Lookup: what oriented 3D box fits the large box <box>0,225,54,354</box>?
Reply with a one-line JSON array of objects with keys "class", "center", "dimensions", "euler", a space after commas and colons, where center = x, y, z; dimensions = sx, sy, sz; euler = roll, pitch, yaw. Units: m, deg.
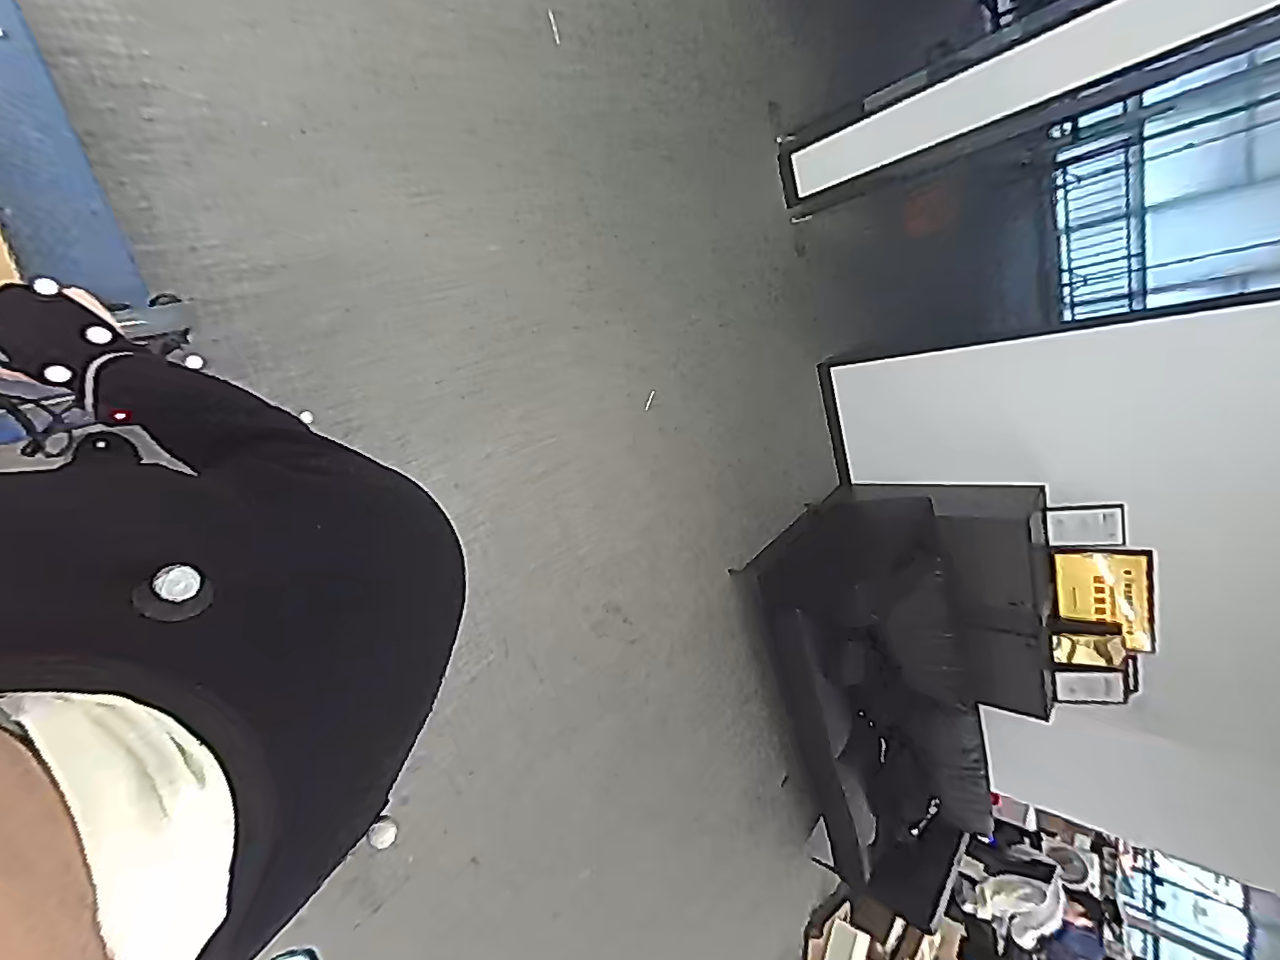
[{"class": "large box", "center": [-1.148, -0.384, 0.766], "dimensions": [0.320, 0.320, 0.408], "euler": [-24, 106, -41]}]
